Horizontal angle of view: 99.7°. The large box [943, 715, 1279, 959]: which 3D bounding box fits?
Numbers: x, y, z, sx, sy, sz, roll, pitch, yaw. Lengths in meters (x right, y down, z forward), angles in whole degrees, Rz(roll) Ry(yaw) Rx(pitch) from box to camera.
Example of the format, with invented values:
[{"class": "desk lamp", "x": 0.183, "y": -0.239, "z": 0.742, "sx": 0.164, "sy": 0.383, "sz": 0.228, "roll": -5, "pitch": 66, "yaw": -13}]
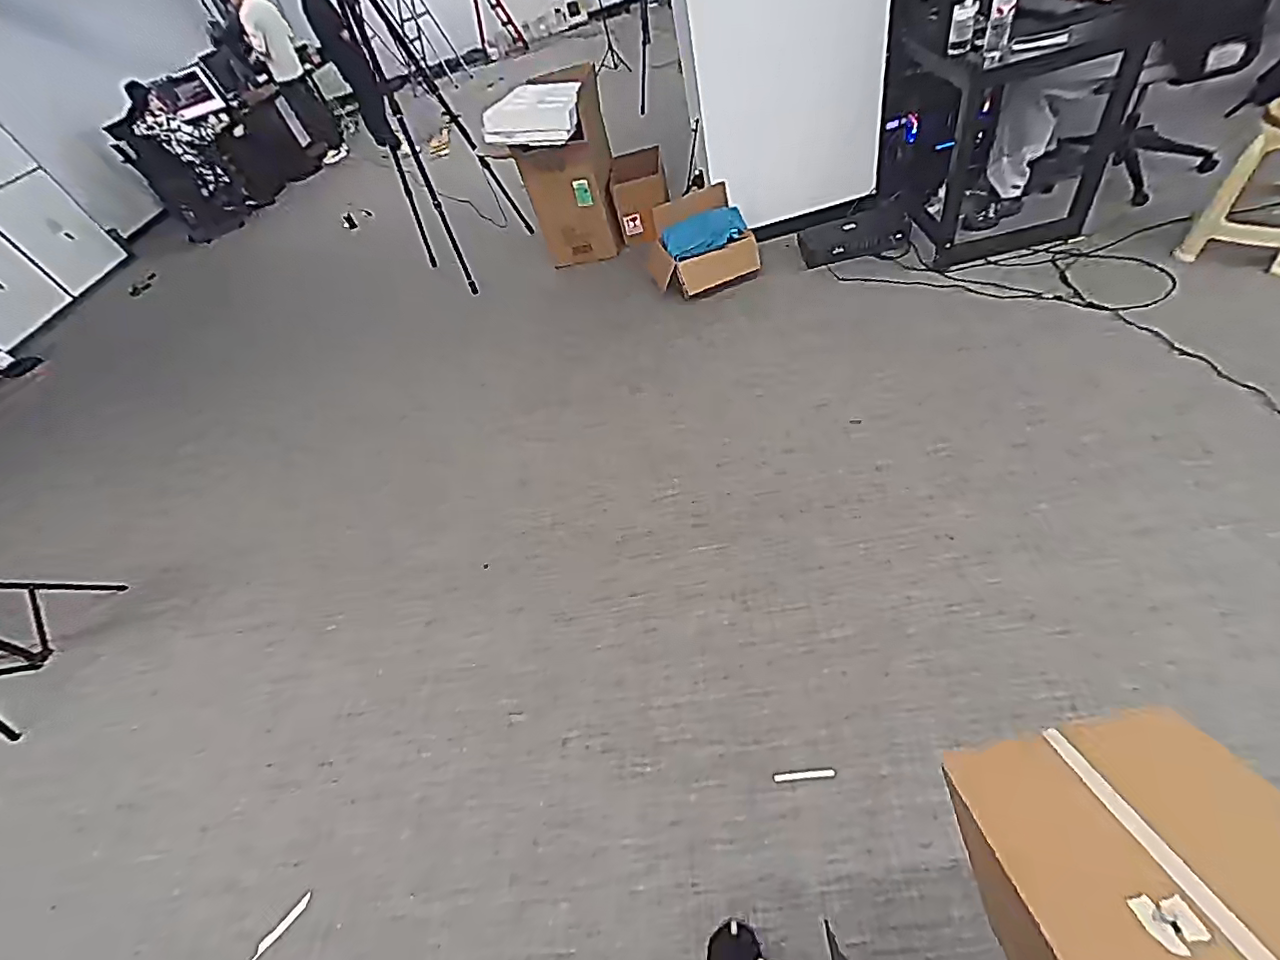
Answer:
[{"class": "large box", "x": 0.623, "y": 0.557, "z": 0.616, "sx": 0.320, "sy": 0.320, "sz": 0.408, "roll": -20, "pitch": 11, "yaw": 9}]
